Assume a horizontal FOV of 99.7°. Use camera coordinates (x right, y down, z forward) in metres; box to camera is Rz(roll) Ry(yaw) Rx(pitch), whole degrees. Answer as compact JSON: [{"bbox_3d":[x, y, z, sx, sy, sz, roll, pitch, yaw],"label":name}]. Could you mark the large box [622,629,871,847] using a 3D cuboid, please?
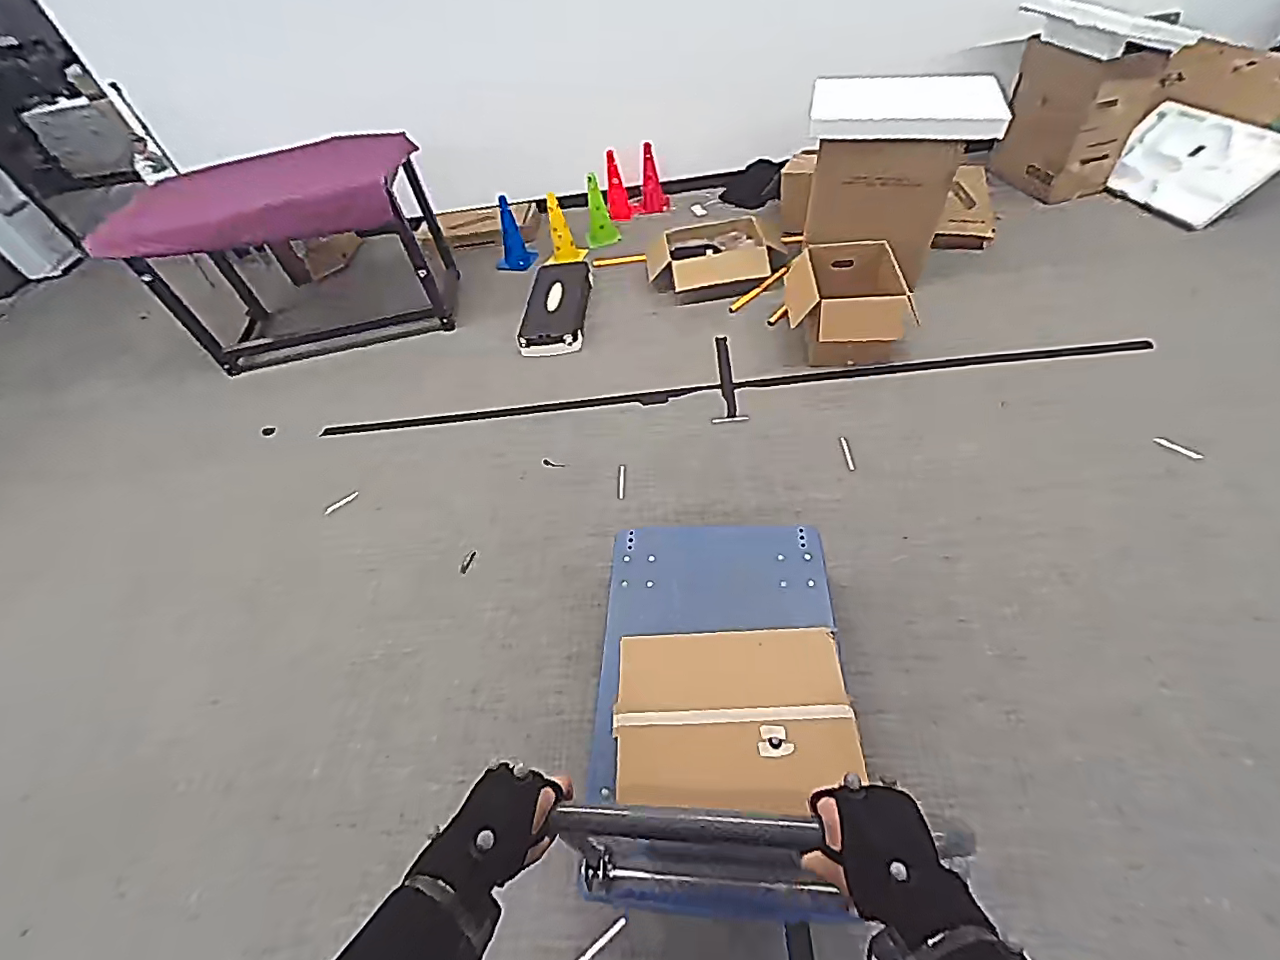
[{"bbox_3d":[0.181,0.514,1.065,0.408,0.320,0.320,-4,50,5],"label":"large box"}]
